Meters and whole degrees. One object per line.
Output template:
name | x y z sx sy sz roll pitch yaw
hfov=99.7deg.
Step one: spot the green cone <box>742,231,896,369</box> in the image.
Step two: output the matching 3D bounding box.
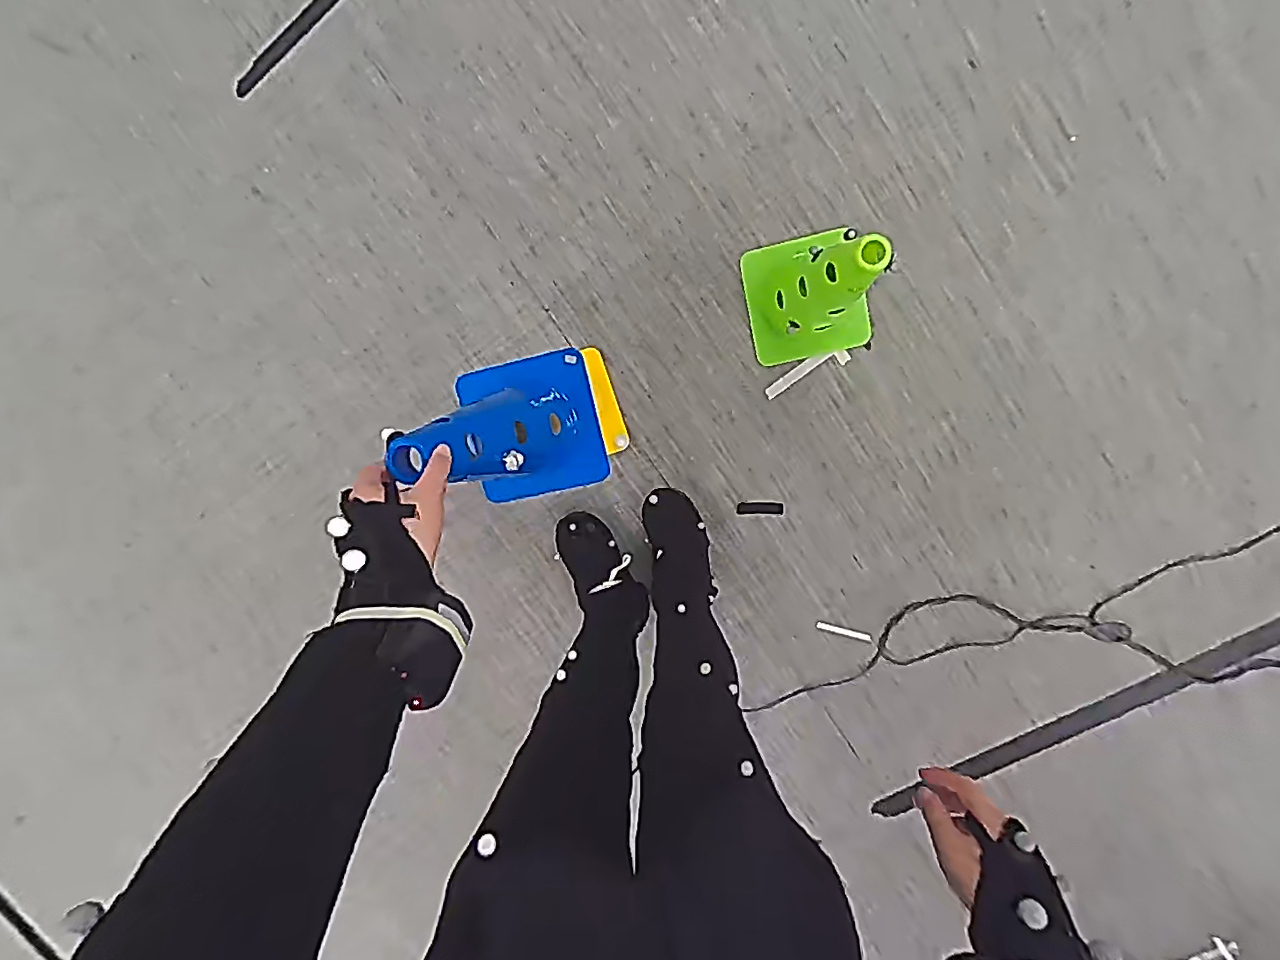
green cone | 0.272 -0.275 0.768 0.200 0.368 0.202 -12 100 8
